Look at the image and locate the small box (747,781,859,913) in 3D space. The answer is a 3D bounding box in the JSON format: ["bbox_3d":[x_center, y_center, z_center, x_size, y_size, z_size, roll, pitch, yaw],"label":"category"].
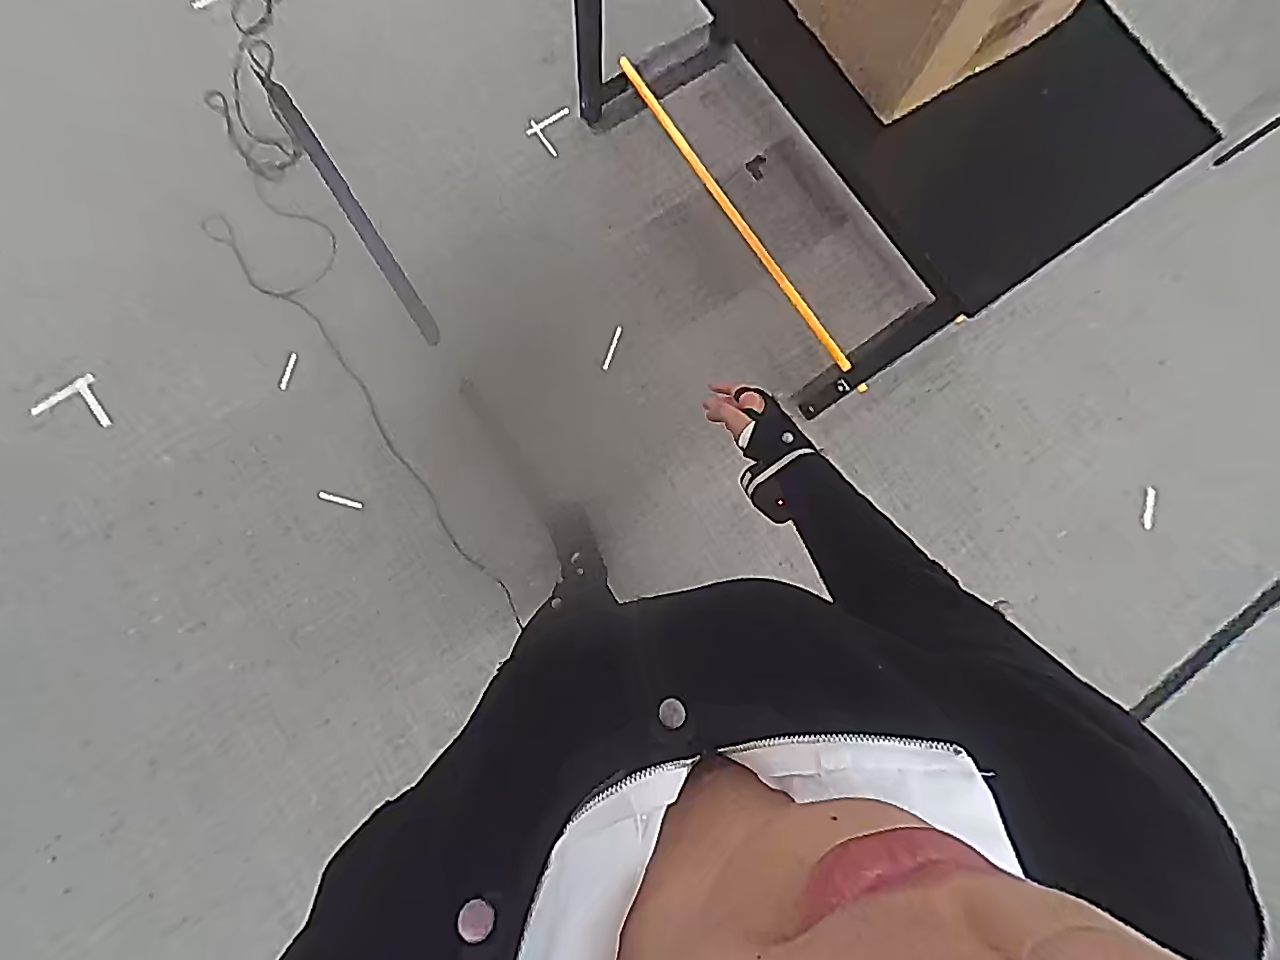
[{"bbox_3d":[0.395,0.894,1.338,0.168,0.176,0.179,-41,85,-9],"label":"small box"}]
